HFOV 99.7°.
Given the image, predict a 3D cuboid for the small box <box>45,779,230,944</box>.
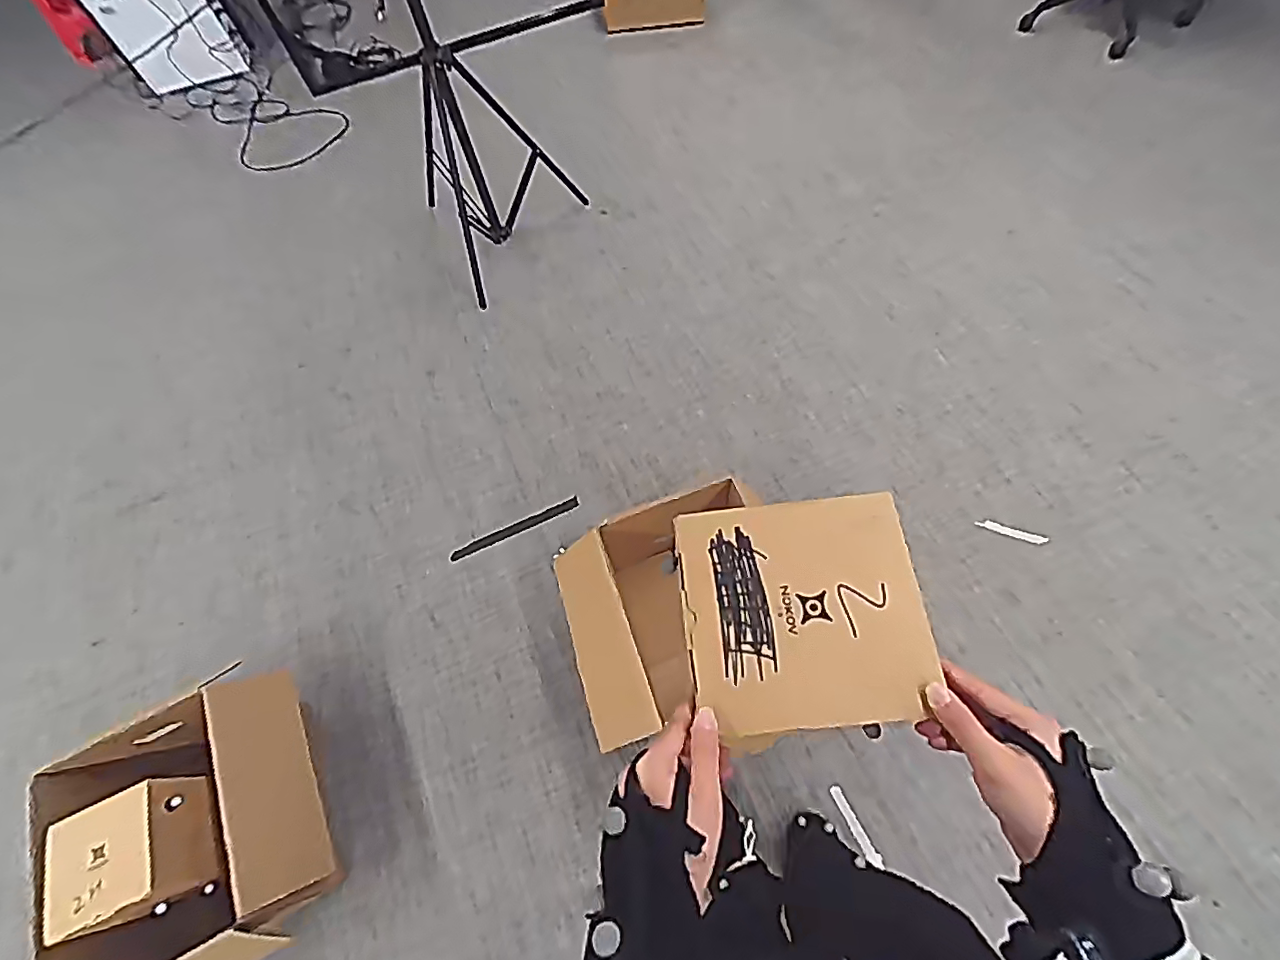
[{"bbox_3d":[-0.860,0.647,0.942,0.168,0.176,0.179,-25,64,-7],"label":"small box"}]
